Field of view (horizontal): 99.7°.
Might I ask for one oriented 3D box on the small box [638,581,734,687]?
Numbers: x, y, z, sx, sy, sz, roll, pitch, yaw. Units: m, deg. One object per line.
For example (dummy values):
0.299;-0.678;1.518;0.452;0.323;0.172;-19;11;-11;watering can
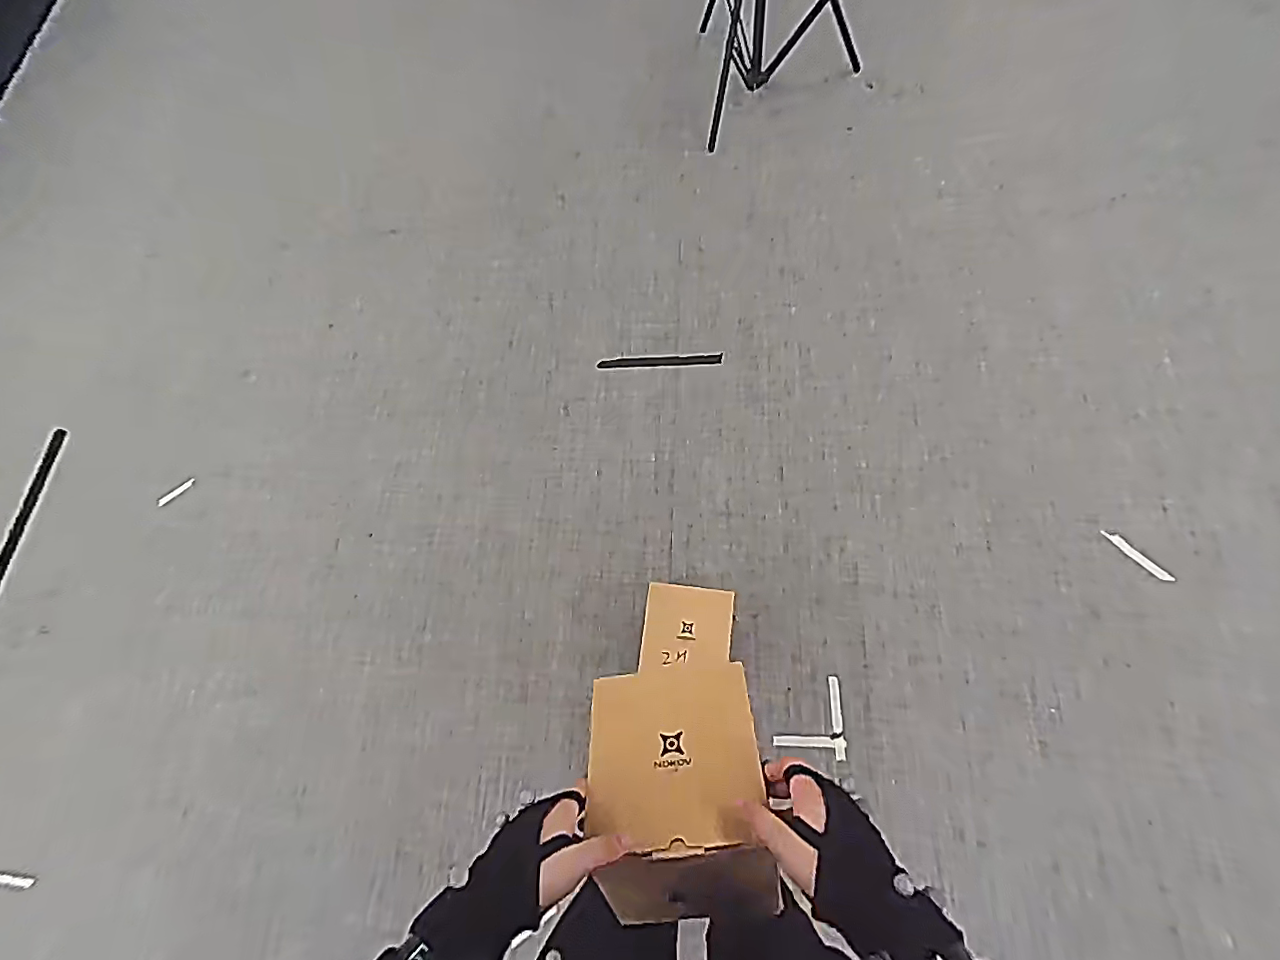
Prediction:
0.098;0.310;1.083;0.168;0.176;0.179;5;72;11;small box
